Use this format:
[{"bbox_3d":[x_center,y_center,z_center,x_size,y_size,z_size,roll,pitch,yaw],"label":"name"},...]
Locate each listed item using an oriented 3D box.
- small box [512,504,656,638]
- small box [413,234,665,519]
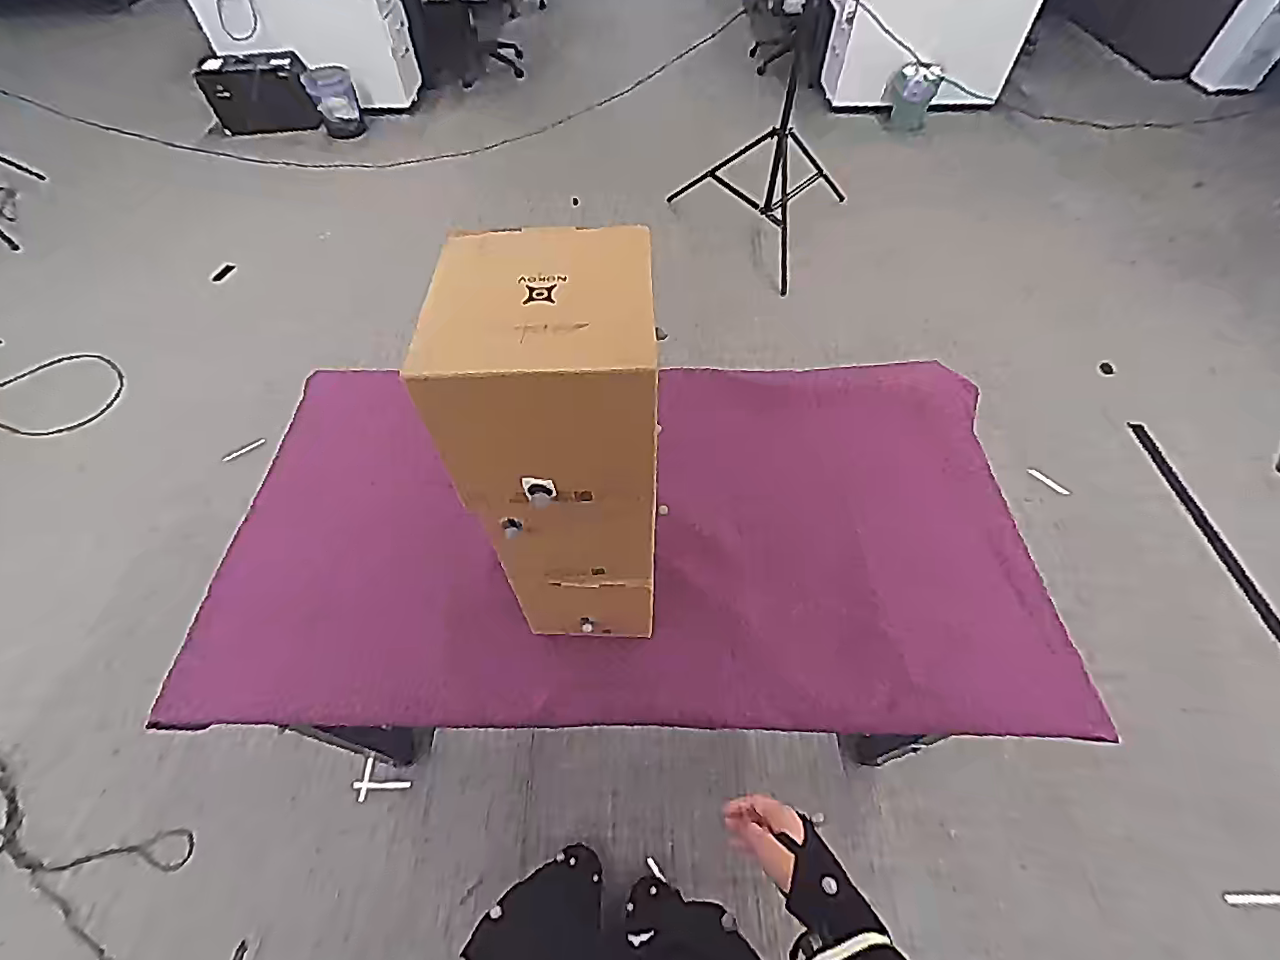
[{"bbox_3d":[-0.063,0.098,0.733,0.168,0.176,0.179,1,54,2],"label":"small box"},{"bbox_3d":[-0.068,-0.084,0.462,0.168,0.176,0.179,-3,55,-1],"label":"small box"}]
